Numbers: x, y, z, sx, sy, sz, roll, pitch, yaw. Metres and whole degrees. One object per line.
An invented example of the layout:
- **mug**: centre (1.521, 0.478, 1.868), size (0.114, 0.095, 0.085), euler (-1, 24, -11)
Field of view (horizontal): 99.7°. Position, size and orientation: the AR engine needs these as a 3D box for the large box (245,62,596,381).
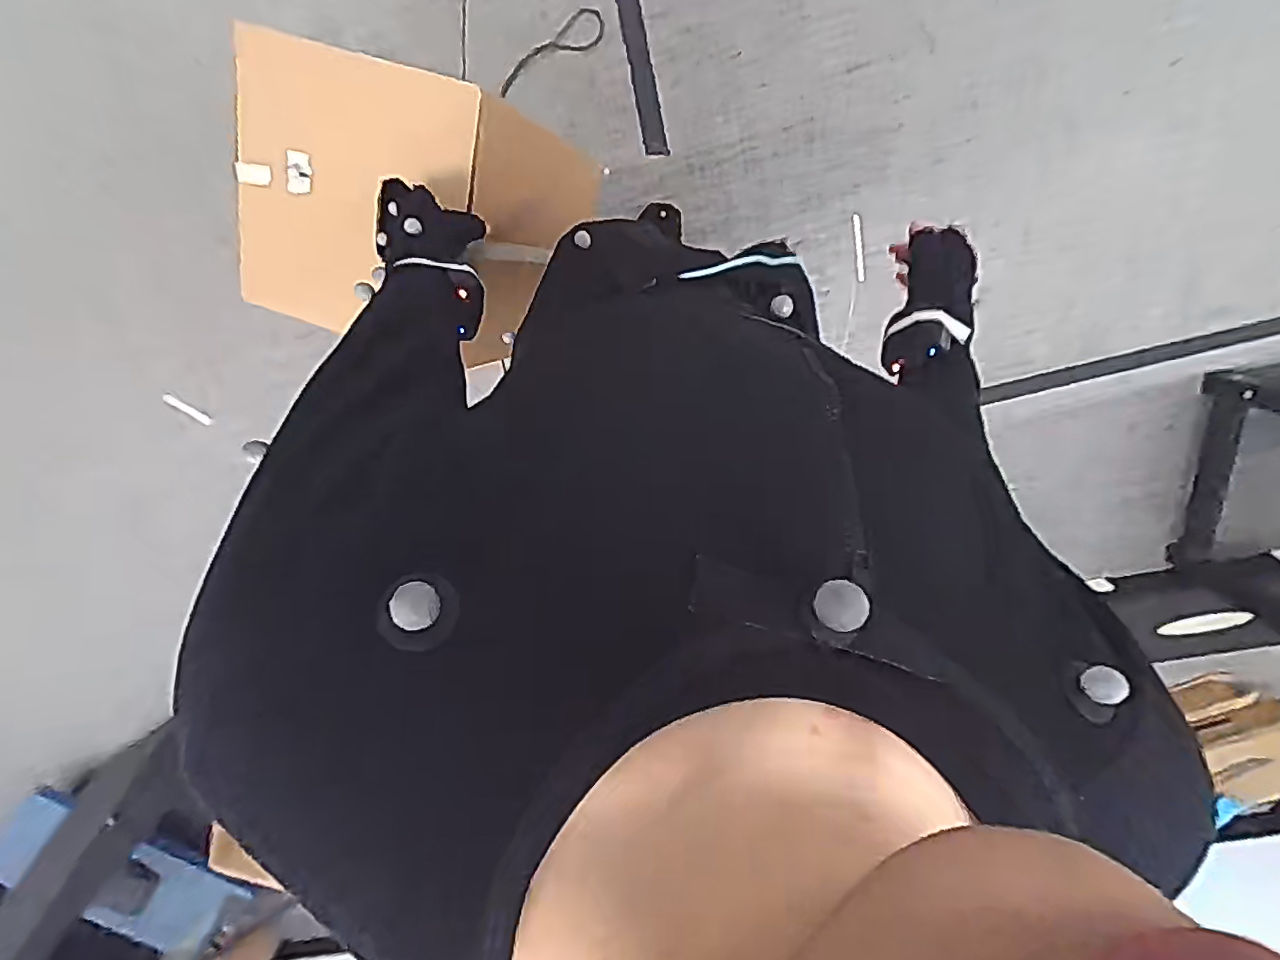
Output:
- **large box**: centre (-0.298, -0.376, 0.834), size (0.320, 0.408, 0.320), euler (19, 114, 7)
